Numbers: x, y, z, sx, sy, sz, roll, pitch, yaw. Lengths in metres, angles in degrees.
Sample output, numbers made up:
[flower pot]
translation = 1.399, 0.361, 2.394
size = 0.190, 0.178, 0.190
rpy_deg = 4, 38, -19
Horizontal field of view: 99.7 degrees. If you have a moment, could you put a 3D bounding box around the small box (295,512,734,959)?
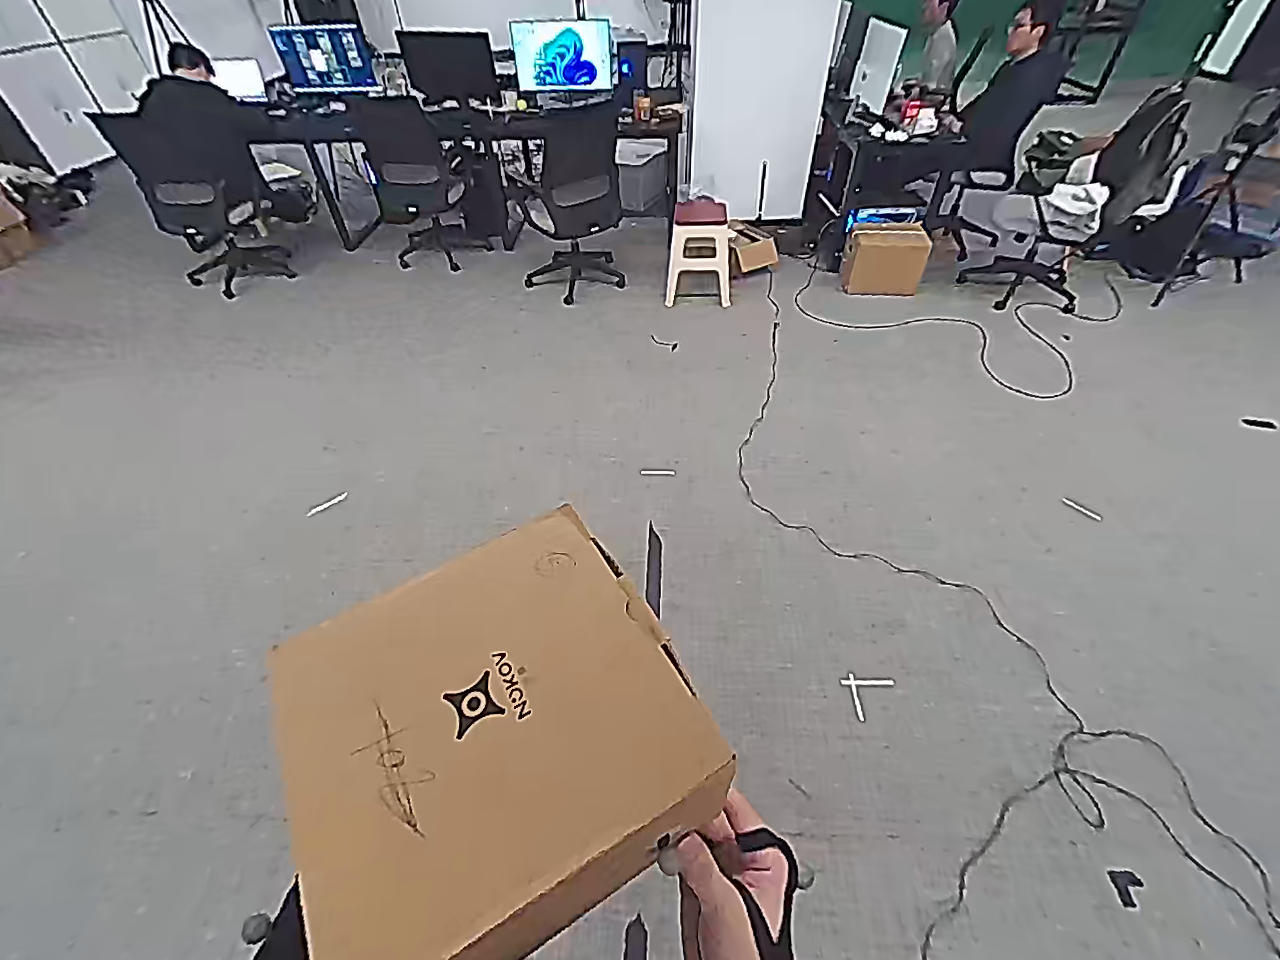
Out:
[small box]
translation = -0.066, 0.157, 0.329
size = 0.179, 0.176, 0.168
rpy_deg = -27, 53, -16
